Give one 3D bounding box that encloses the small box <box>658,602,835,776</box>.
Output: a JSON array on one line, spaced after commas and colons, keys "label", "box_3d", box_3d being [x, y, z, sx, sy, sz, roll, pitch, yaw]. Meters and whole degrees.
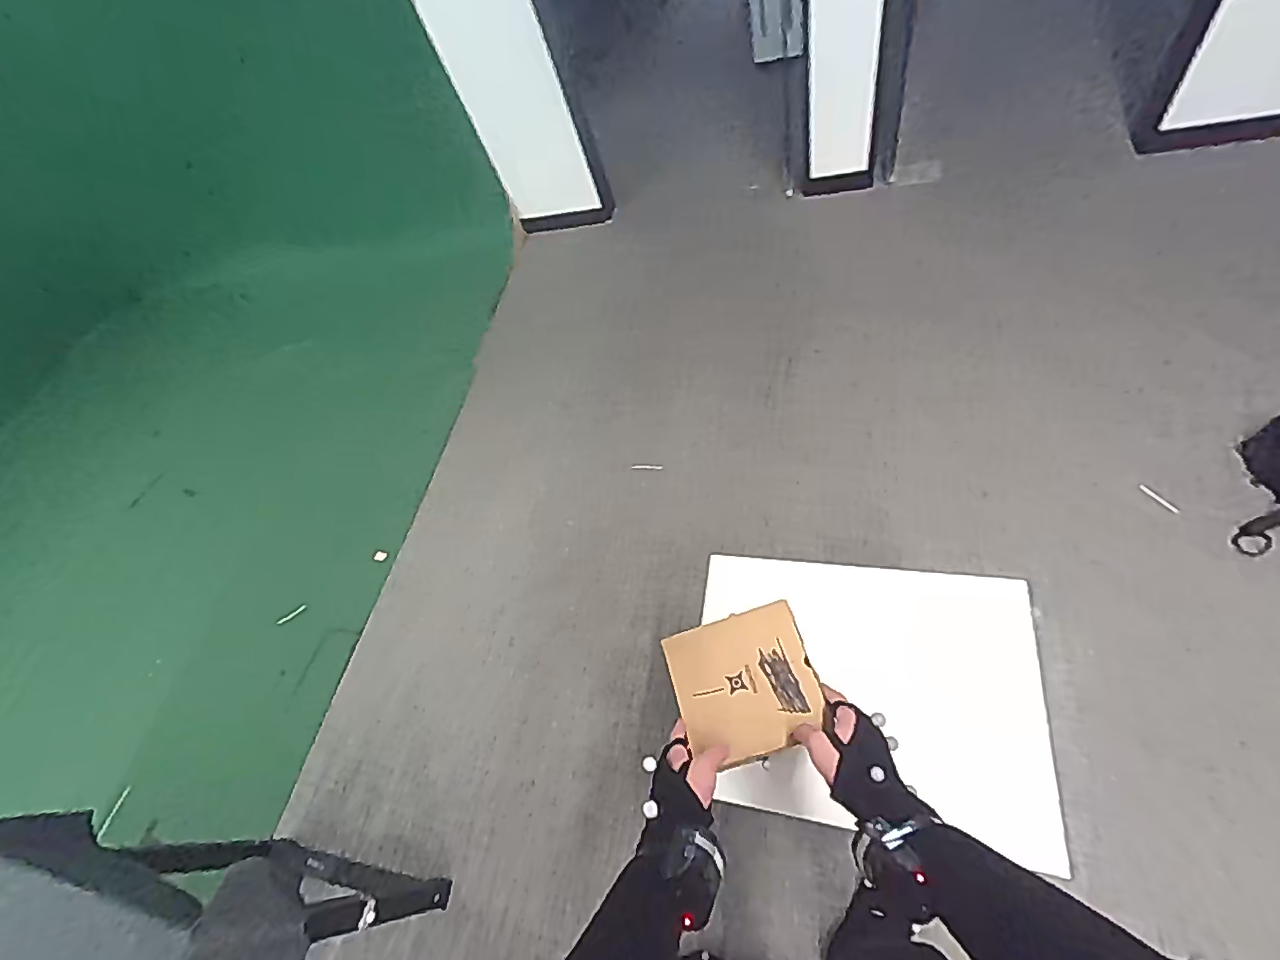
[{"label": "small box", "box_3d": [0.140, 0.284, 0.725, 0.179, 0.176, 0.168, -19, 58, 5]}]
